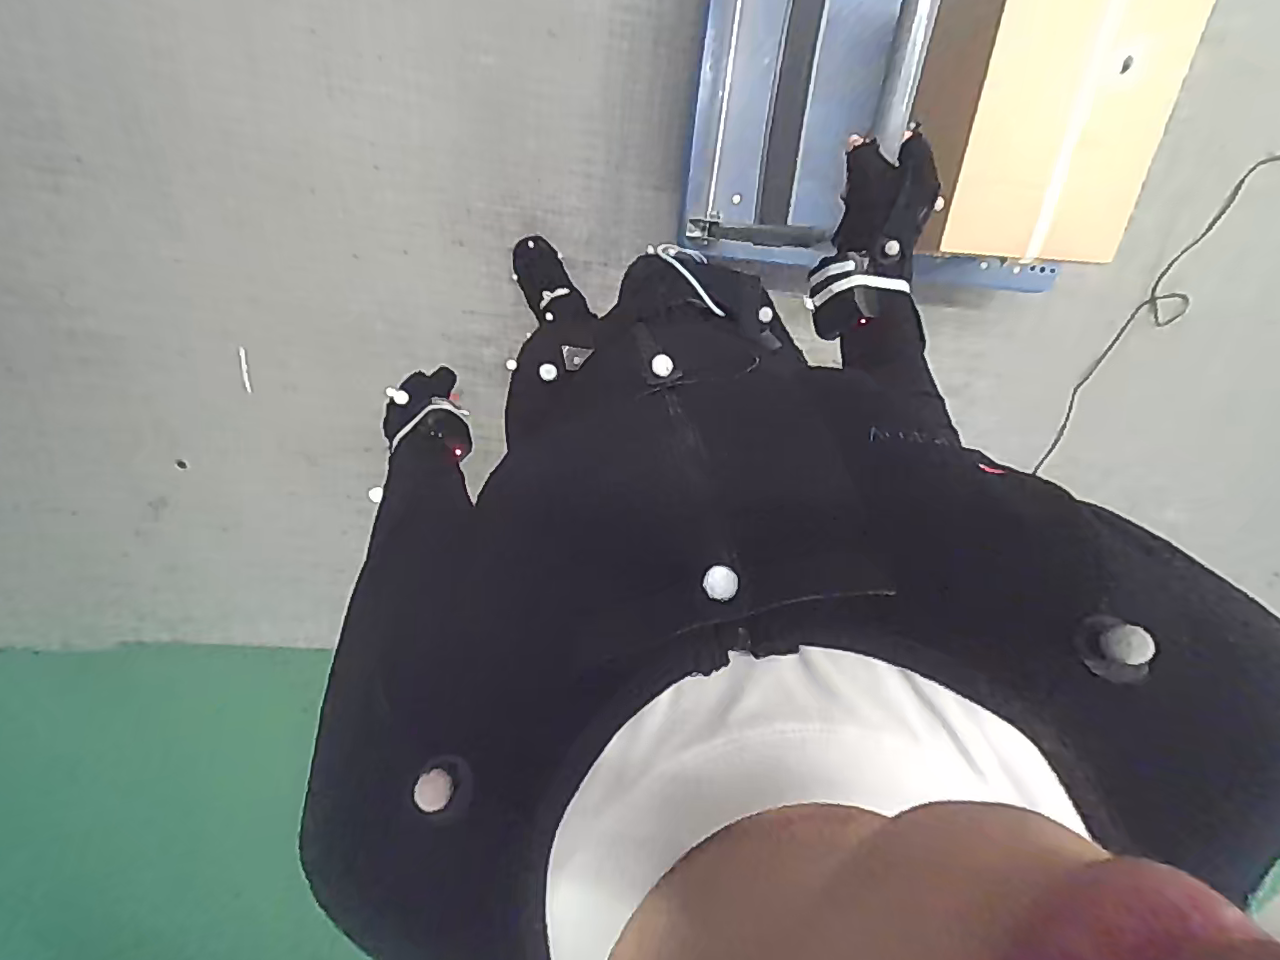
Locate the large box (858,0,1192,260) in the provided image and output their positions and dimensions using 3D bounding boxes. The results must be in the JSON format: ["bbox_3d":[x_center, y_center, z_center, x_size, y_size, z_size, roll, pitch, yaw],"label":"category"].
[{"bbox_3d":[0.635,-0.617,0.969,0.320,0.320,0.408,2,113,-6],"label":"large box"}]
